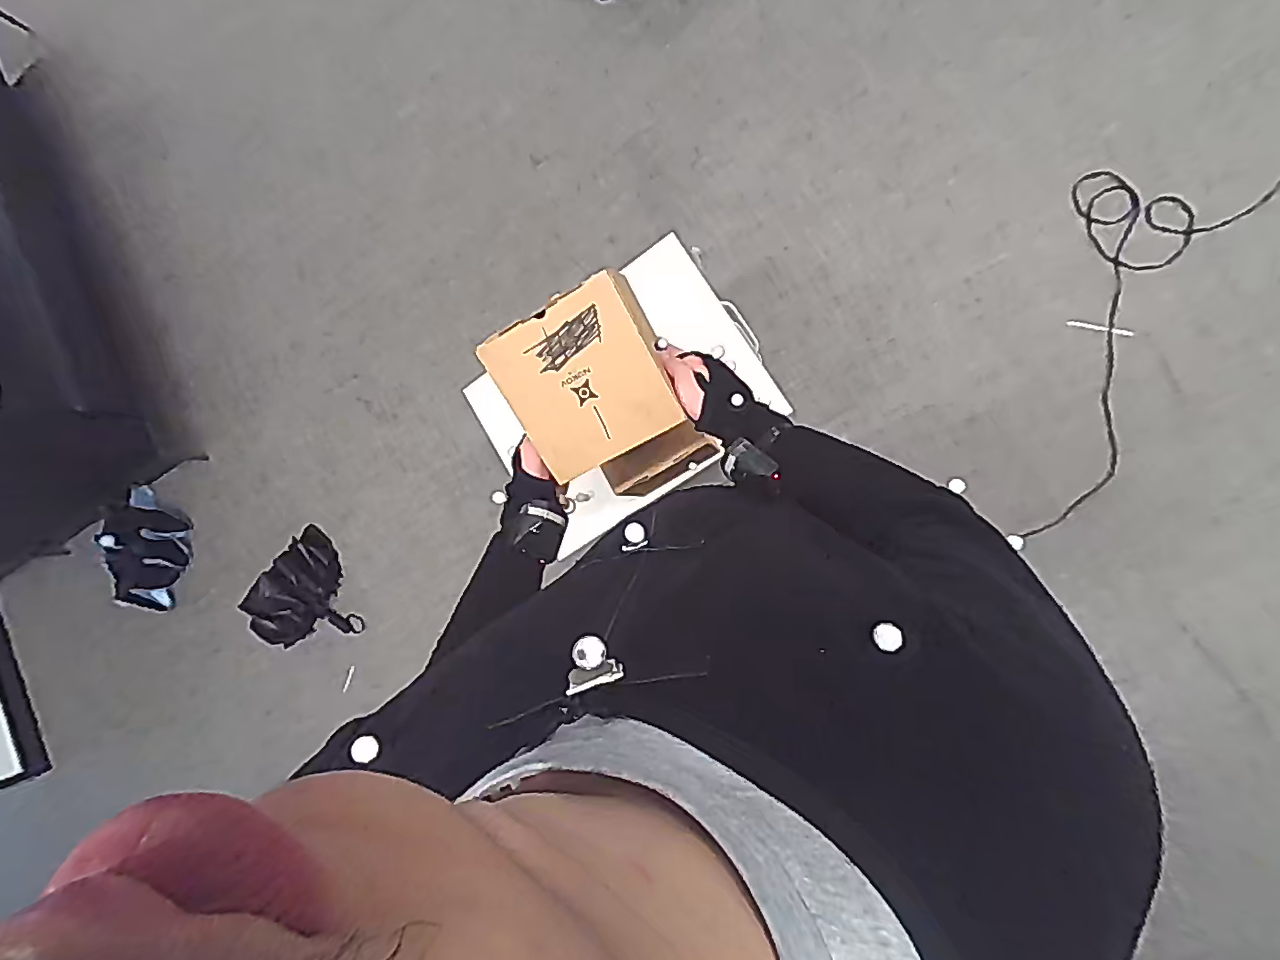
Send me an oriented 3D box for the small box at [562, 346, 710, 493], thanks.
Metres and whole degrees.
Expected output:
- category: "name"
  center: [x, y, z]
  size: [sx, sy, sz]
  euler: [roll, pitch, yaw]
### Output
- category: "small box"
  center: [0.003, -0.090, 0.906]
  size: [0.168, 0.176, 0.179]
  euler: [-30, 80, 11]
